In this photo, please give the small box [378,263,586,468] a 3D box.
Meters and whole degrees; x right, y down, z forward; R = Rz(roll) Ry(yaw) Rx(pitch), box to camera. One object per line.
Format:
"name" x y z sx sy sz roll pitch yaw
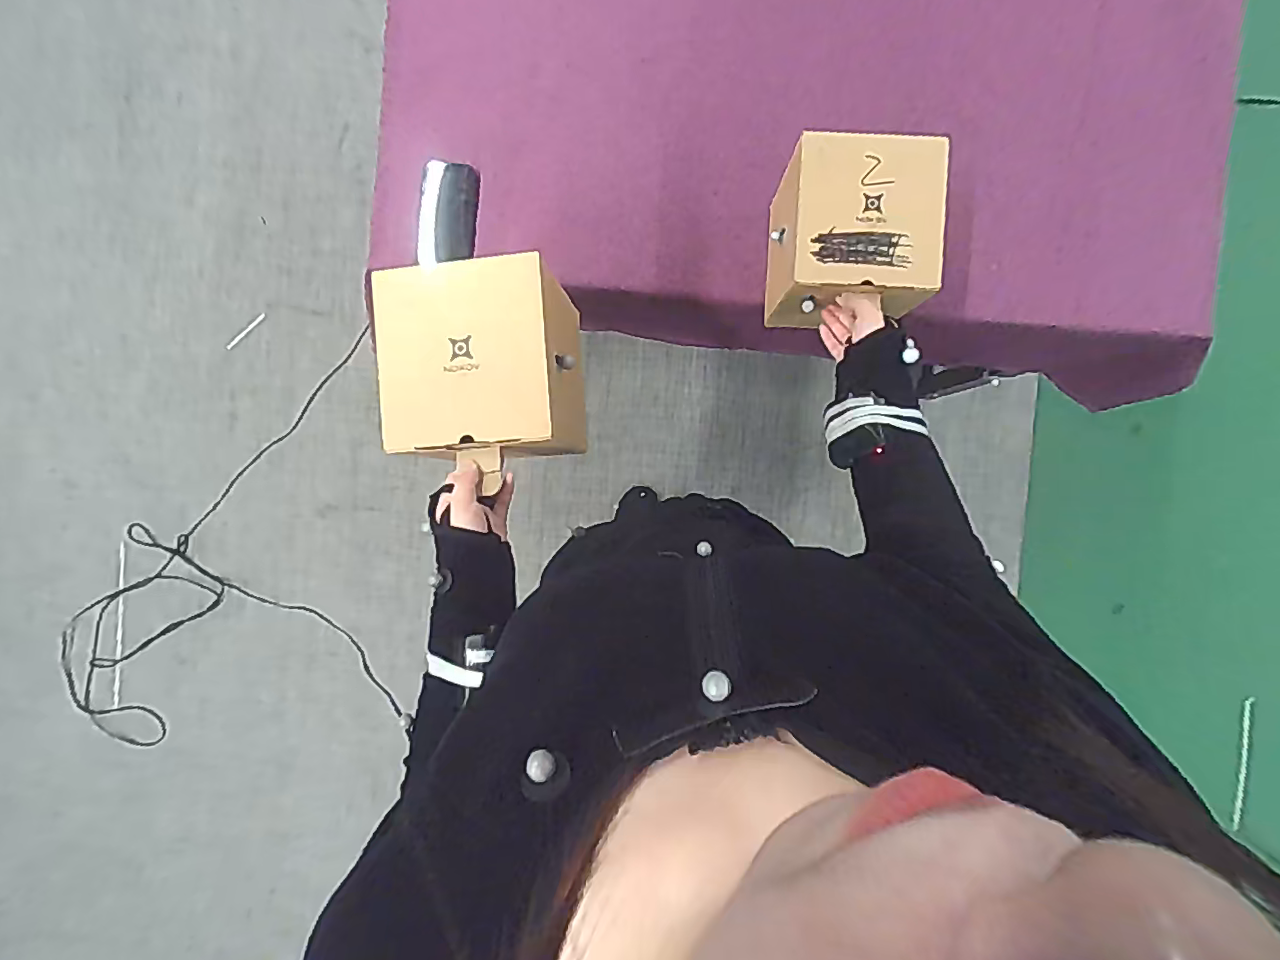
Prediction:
"small box" -0.156 -0.108 0.583 0.168 0.176 0.179 -4 89 5
